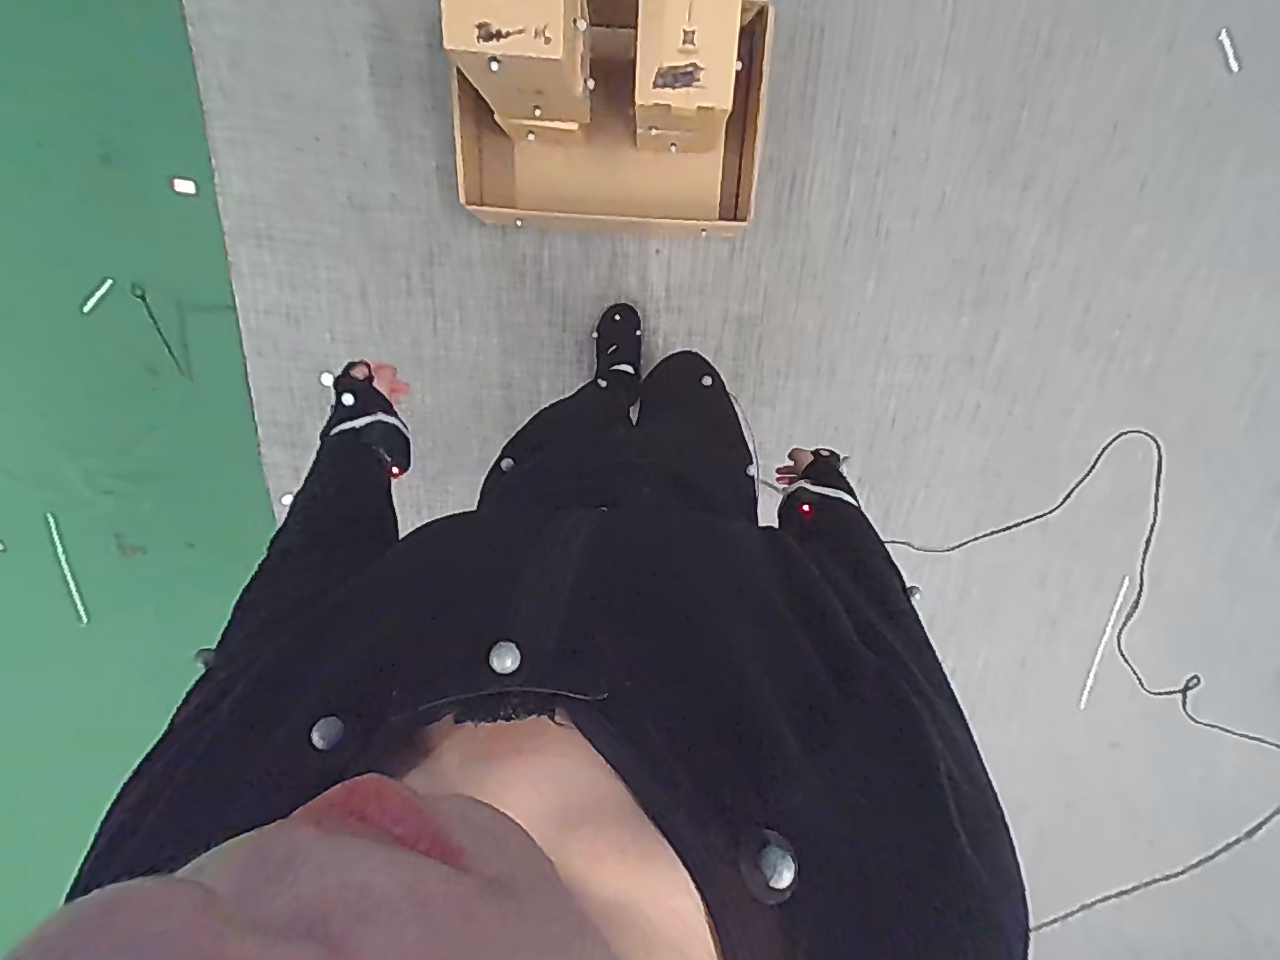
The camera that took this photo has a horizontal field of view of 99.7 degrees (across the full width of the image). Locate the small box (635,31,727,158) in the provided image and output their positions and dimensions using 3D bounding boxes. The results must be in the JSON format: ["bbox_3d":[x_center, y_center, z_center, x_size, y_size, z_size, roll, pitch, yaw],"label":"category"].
[{"bbox_3d":[0.079,-0.780,1.112,0.168,0.176,0.179,3,110,-1],"label":"small box"}]

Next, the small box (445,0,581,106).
[{"bbox_3d":[-0.179,-0.687,0.797,0.168,0.176,0.179,5,109,-2],"label":"small box"}]

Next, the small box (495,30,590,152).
[{"bbox_3d":[-0.194,-0.794,1.108,0.168,0.176,0.179,6,109,-3],"label":"small box"}]
